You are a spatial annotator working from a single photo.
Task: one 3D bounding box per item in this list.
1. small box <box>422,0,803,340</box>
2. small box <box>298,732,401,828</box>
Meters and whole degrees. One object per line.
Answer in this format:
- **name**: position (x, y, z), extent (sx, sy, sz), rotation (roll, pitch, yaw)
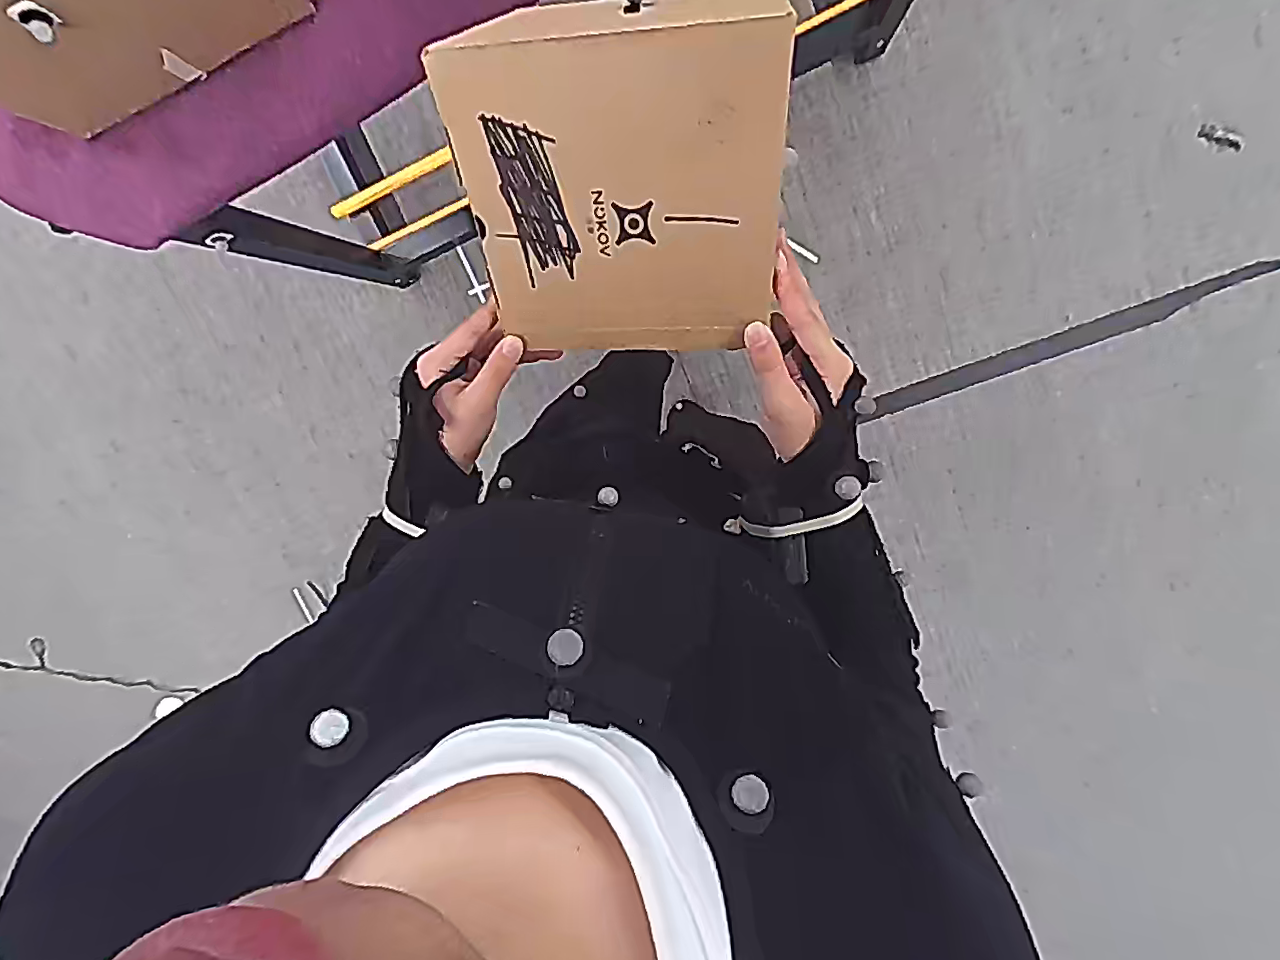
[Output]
- **small box**: position (-0.001, -0.206, 0.348), extent (0.179, 0.176, 0.168), rotation (1, 136, 8)
- **small box**: position (-0.829, 0.853, 1.558), extent (0.168, 0.176, 0.179), rotation (-15, 101, 10)
